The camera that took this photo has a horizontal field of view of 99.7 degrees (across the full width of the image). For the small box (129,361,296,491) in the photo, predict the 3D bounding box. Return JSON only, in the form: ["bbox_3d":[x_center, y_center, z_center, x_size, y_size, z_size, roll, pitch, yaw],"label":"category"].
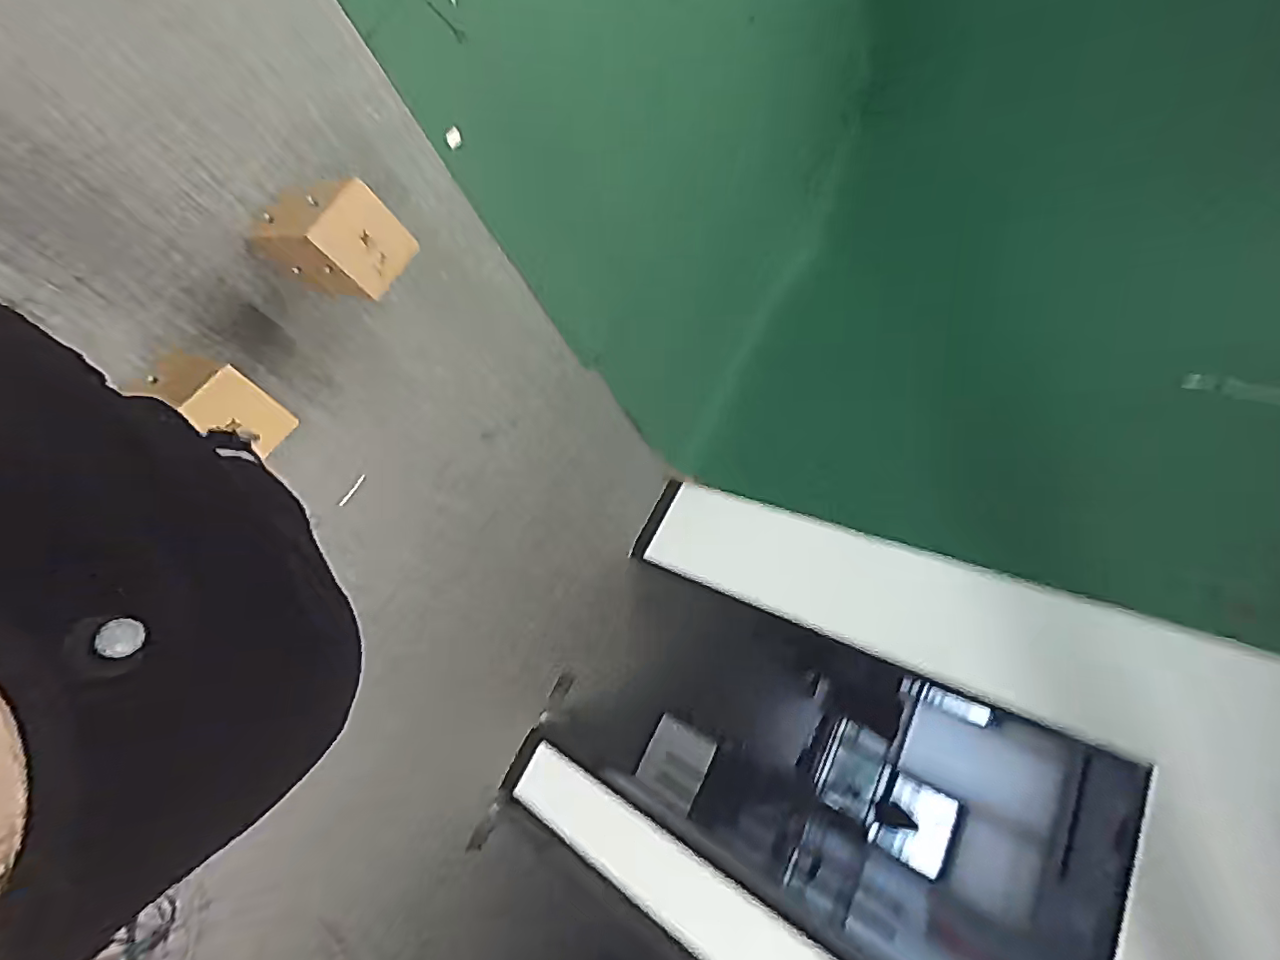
[{"bbox_3d":[-0.834,-0.112,1.055,0.179,0.176,0.168,-56,143,-21],"label":"small box"}]

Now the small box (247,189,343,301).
[{"bbox_3d":[-0.759,-0.541,1.257,0.168,0.176,0.179,-59,144,-17],"label":"small box"}]

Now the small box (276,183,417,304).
[{"bbox_3d":[-0.631,-0.503,1.162,0.168,0.176,0.179,-60,144,-15],"label":"small box"}]
